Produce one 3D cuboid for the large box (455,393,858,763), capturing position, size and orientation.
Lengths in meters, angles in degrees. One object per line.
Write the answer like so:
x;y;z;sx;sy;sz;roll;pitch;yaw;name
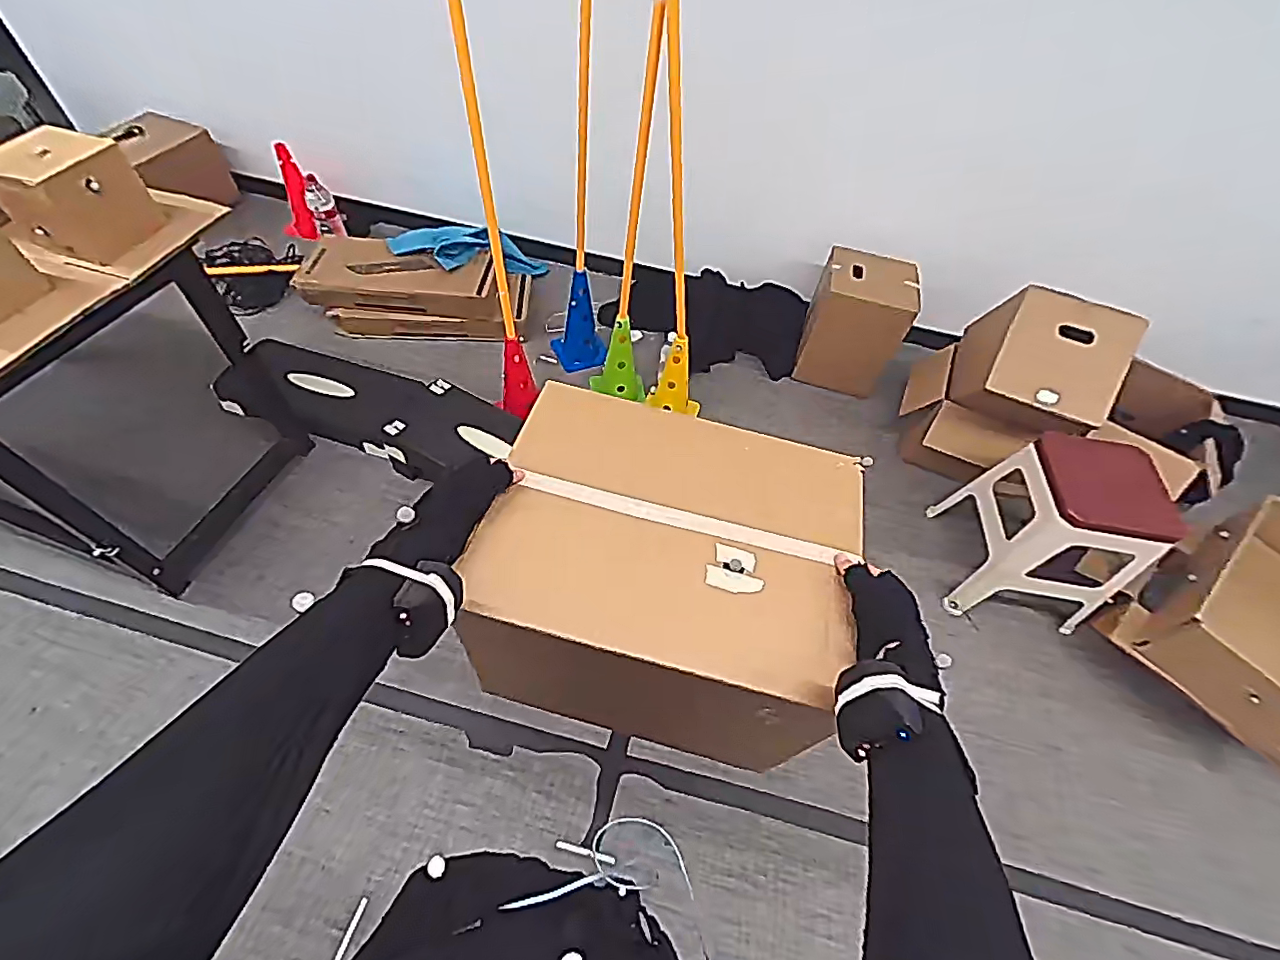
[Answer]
0.026;0.138;0.718;0.408;0.320;0.320;15;55;3;large box
